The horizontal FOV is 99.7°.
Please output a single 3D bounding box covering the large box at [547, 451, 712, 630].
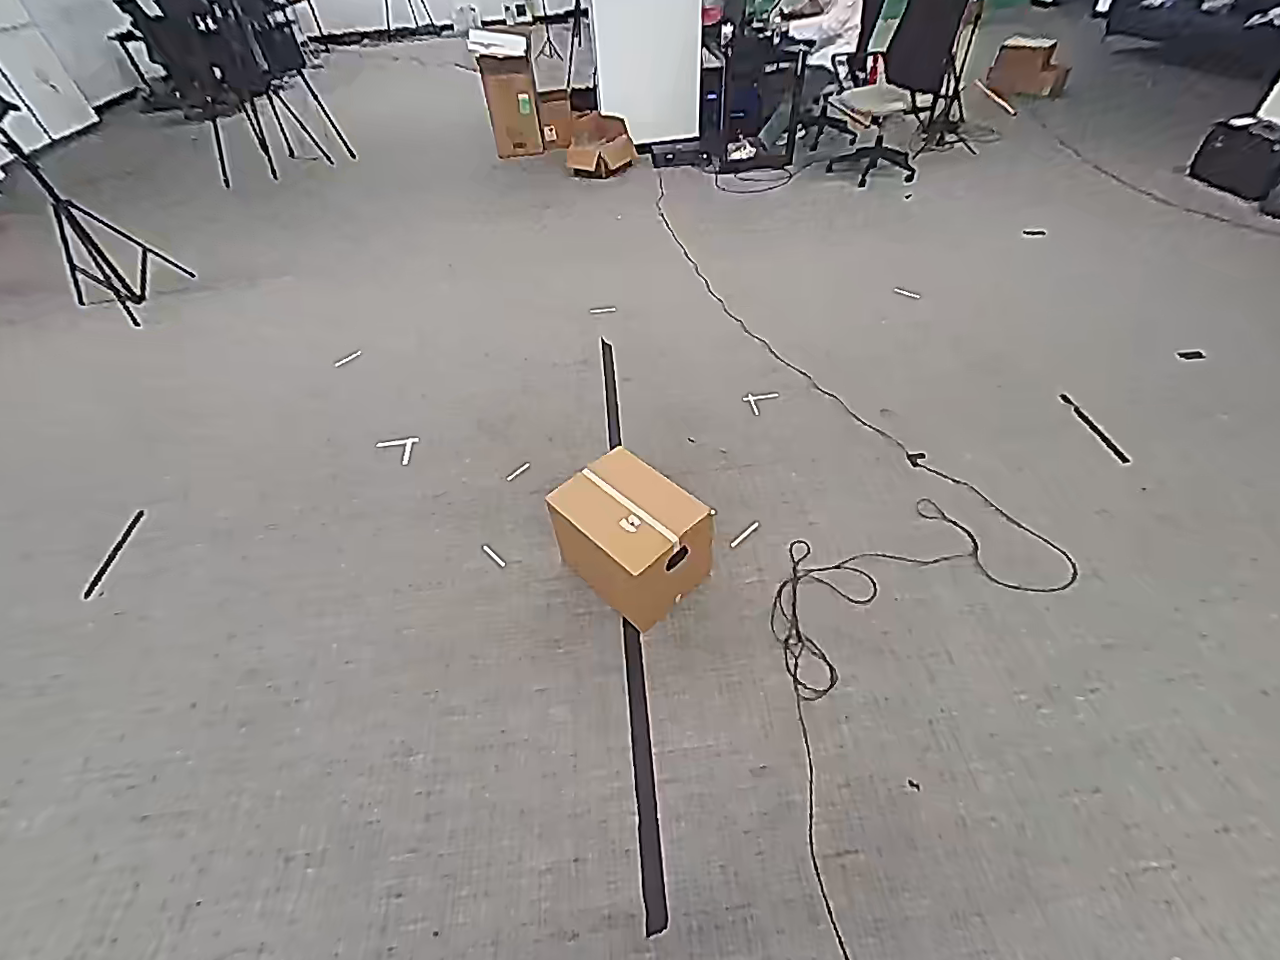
[{"bbox_3d":[-0.031,0.182,1.694,0.320,0.320,0.408,-37,55,-26],"label":"large box"}]
